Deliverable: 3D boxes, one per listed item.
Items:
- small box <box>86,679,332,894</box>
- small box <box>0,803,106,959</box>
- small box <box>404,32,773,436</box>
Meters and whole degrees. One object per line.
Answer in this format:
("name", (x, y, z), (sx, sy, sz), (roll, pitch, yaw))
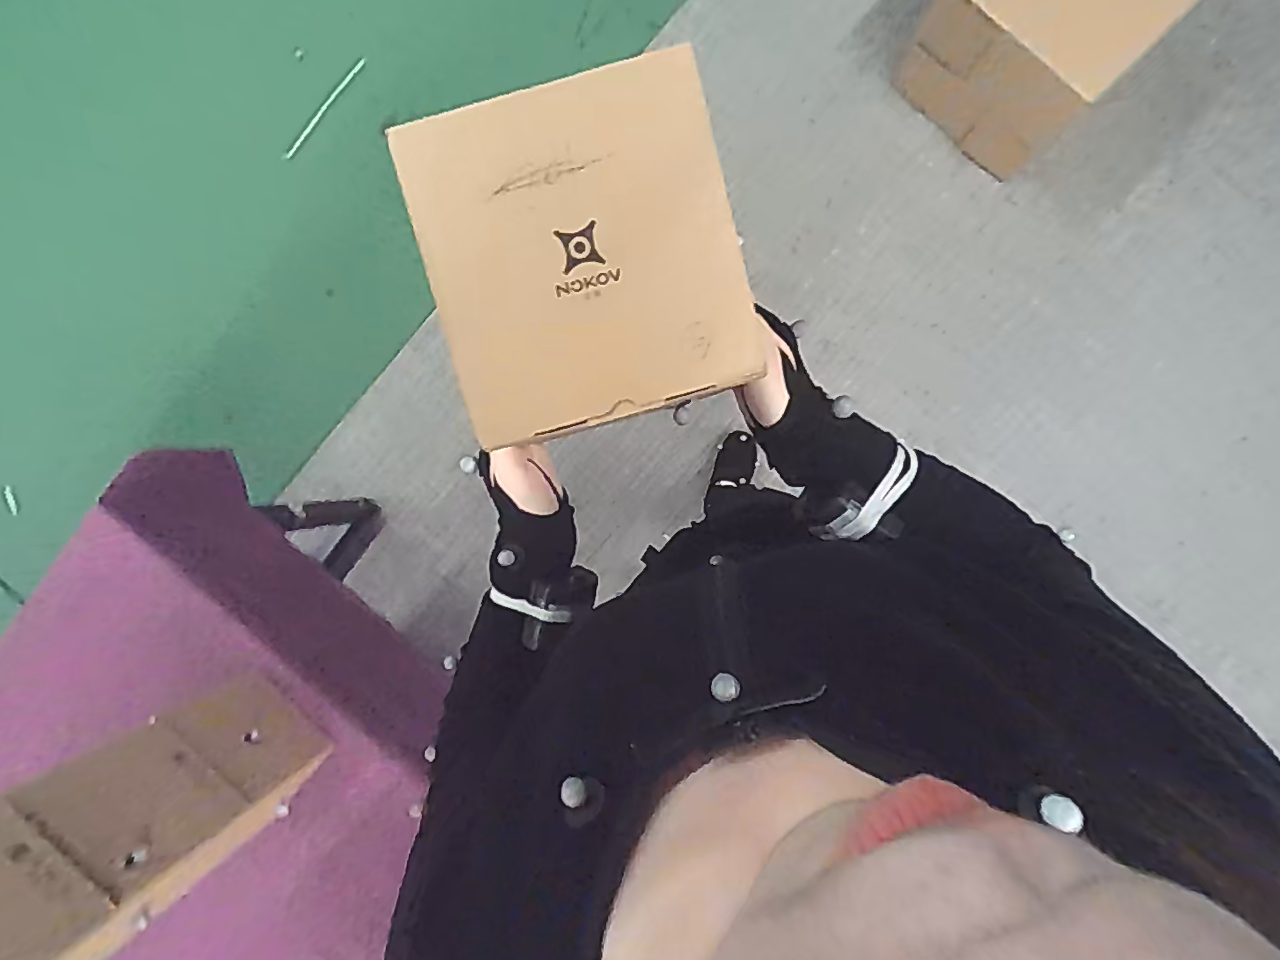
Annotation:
("small box", (-0.594, 0.411, 0.768), (0.179, 0.176, 0.168), (41, 95, 3))
("small box", (-0.608, 0.420, 0.438), (0.168, 0.176, 0.179), (38, 96, 3))
("small box", (-0.024, -0.135, 0.364), (0.168, 0.176, 0.179), (-13, 96, 1))
